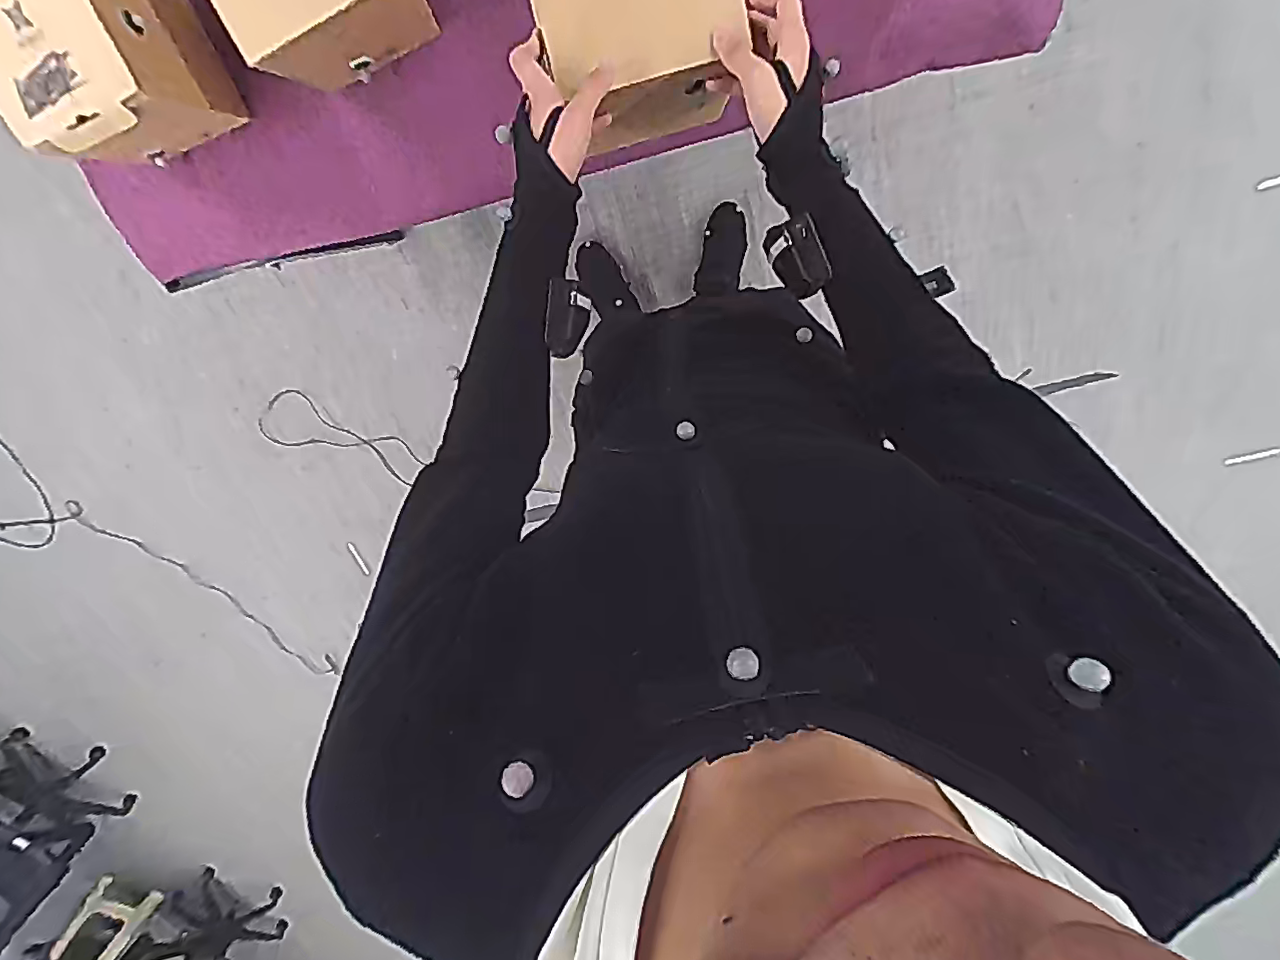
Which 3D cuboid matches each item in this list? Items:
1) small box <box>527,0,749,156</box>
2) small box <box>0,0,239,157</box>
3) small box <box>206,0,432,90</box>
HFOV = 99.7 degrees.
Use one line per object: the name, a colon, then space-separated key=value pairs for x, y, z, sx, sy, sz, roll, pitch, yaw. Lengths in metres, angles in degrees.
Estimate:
small box: x=-0.013 y=-0.440 z=0.517 sx=0.179 sy=0.176 sz=0.168 roll=-15 pitch=106 yaw=2
small box: x=-0.623 y=-0.492 z=0.621 sx=0.168 sy=0.176 sz=0.179 roll=-16 pitch=114 yaw=10
small box: x=-0.361 y=-0.561 z=0.578 sx=0.168 sy=0.176 sz=0.179 roll=-18 pitch=115 yaw=12
